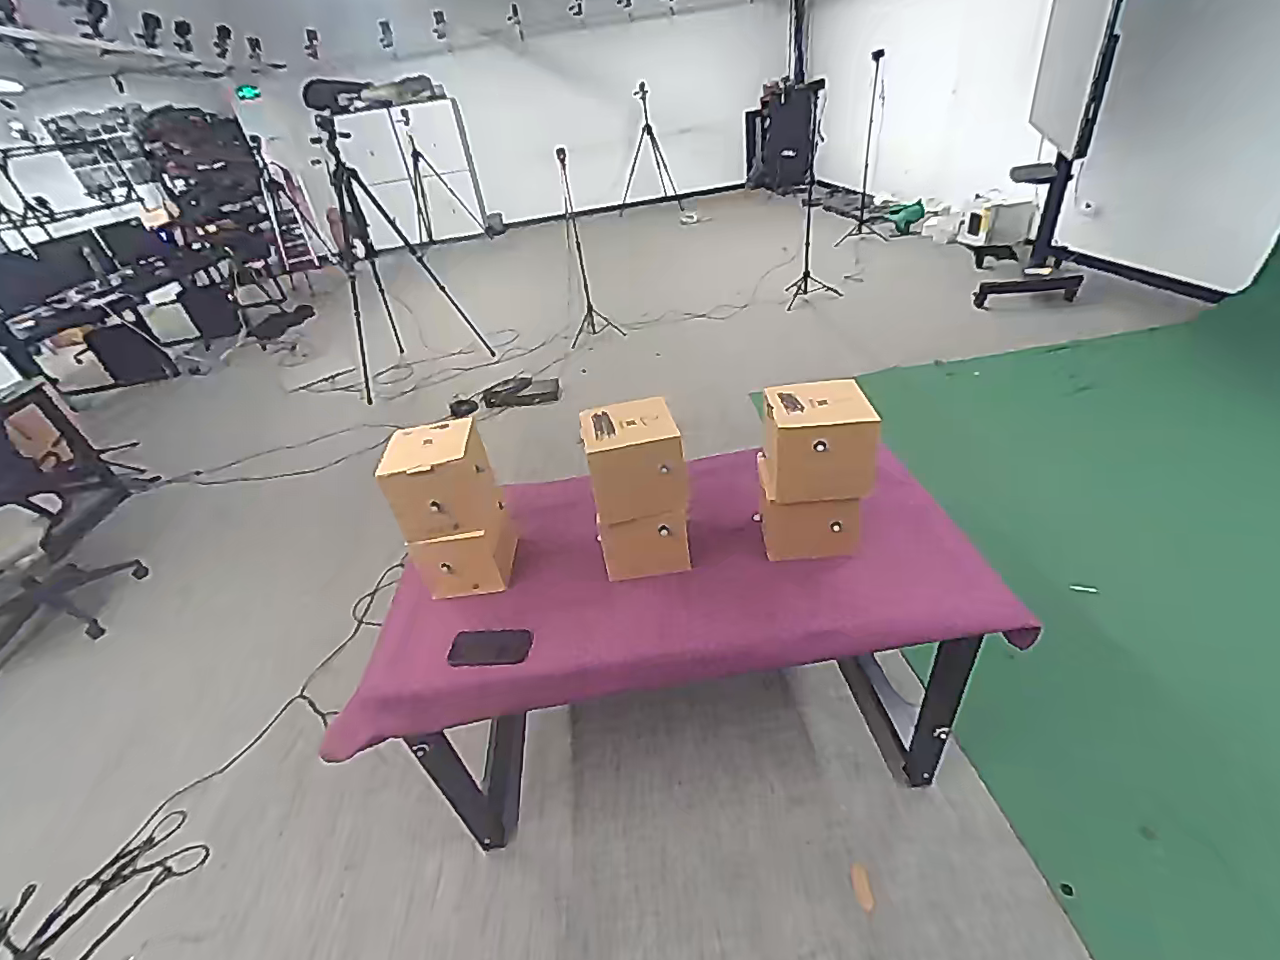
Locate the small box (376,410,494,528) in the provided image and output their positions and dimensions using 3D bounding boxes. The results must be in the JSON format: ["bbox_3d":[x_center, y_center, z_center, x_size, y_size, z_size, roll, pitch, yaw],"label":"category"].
[{"bbox_3d":[-0.406,-0.017,1.103,0.168,0.176,0.179,-10,36,-2],"label":"small box"}]

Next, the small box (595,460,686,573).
[{"bbox_3d":[0.003,0.080,1.162,0.179,0.176,0.168,-8,35,2],"label":"small box"}]

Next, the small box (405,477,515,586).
[{"bbox_3d":[-0.385,0.120,1.192,0.168,0.176,0.179,-7,36,2],"label":"small box"}]

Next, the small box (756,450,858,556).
[{"bbox_3d":[0.342,0.046,1.141,0.179,0.176,0.168,-4,35,7],"label":"small box"}]

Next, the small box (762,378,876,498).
[{"bbox_3d":[0.331,-0.078,1.033,0.179,0.176,0.168,-4,36,6],"label":"small box"}]
